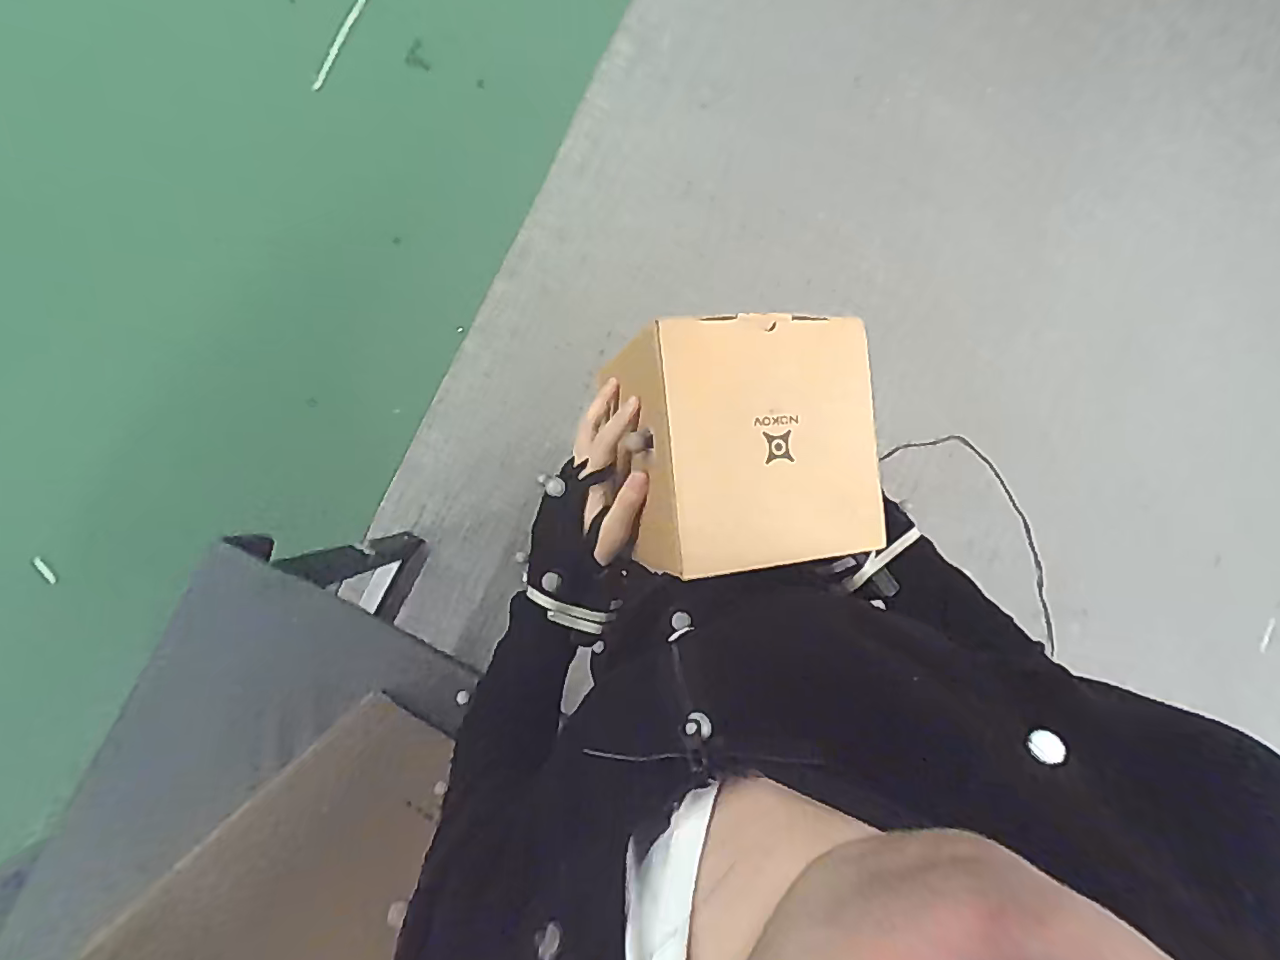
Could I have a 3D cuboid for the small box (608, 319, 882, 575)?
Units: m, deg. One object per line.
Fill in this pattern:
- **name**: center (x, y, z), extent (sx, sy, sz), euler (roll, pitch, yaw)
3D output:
- **small box**: center (0.074, -0.025, 0.461), extent (0.168, 0.176, 0.179), euler (-5, 89, -17)
